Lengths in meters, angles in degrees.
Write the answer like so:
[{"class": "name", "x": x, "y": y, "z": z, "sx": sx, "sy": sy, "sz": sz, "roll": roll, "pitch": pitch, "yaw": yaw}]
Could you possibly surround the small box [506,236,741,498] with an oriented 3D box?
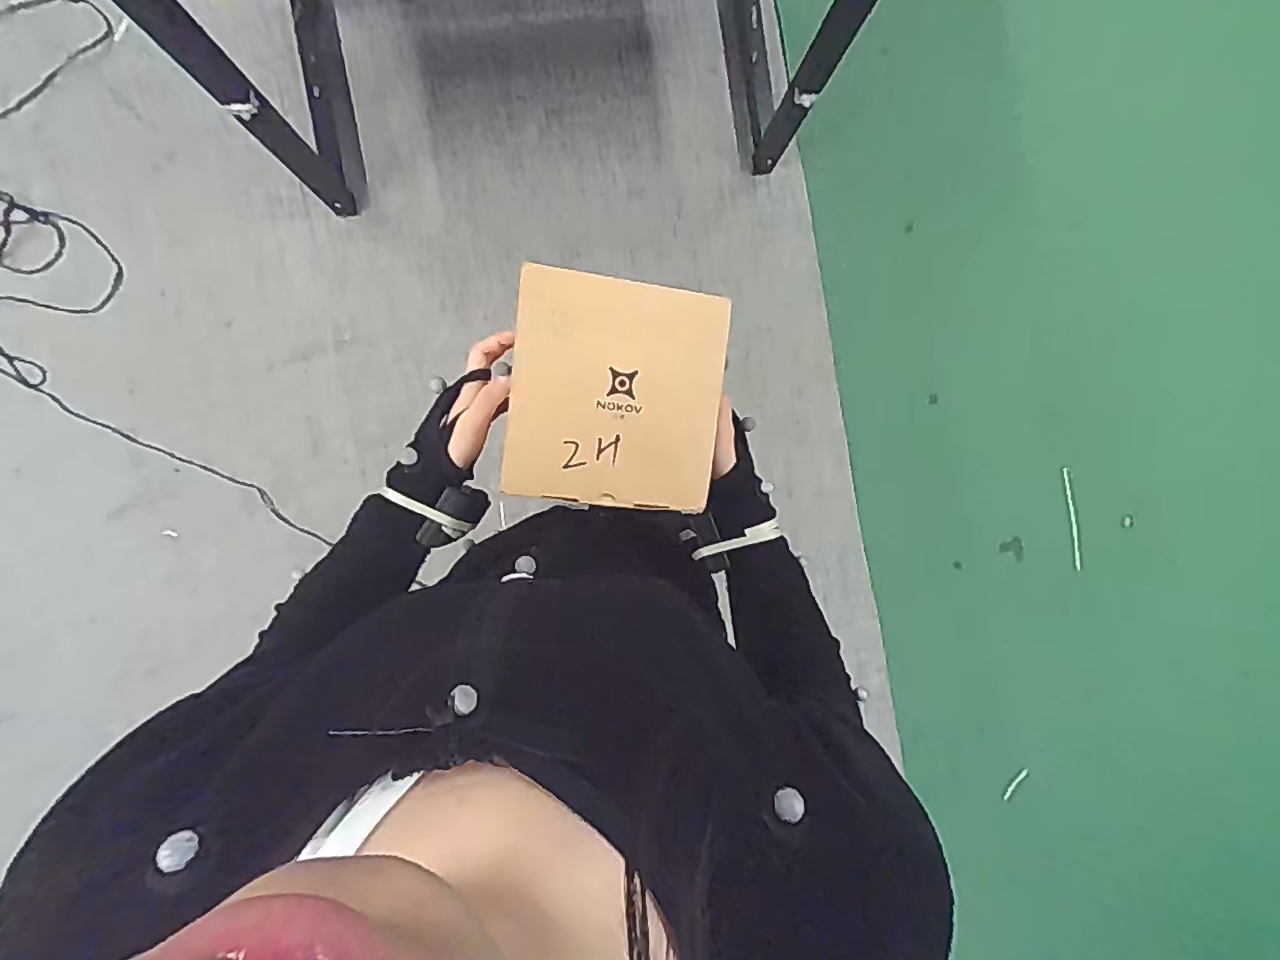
[{"class": "small box", "x": -0.026, "y": -0.086, "z": 0.481, "sx": 0.168, "sy": 0.176, "sz": 0.179, "roll": 6, "pitch": 94, "yaw": -12}]
